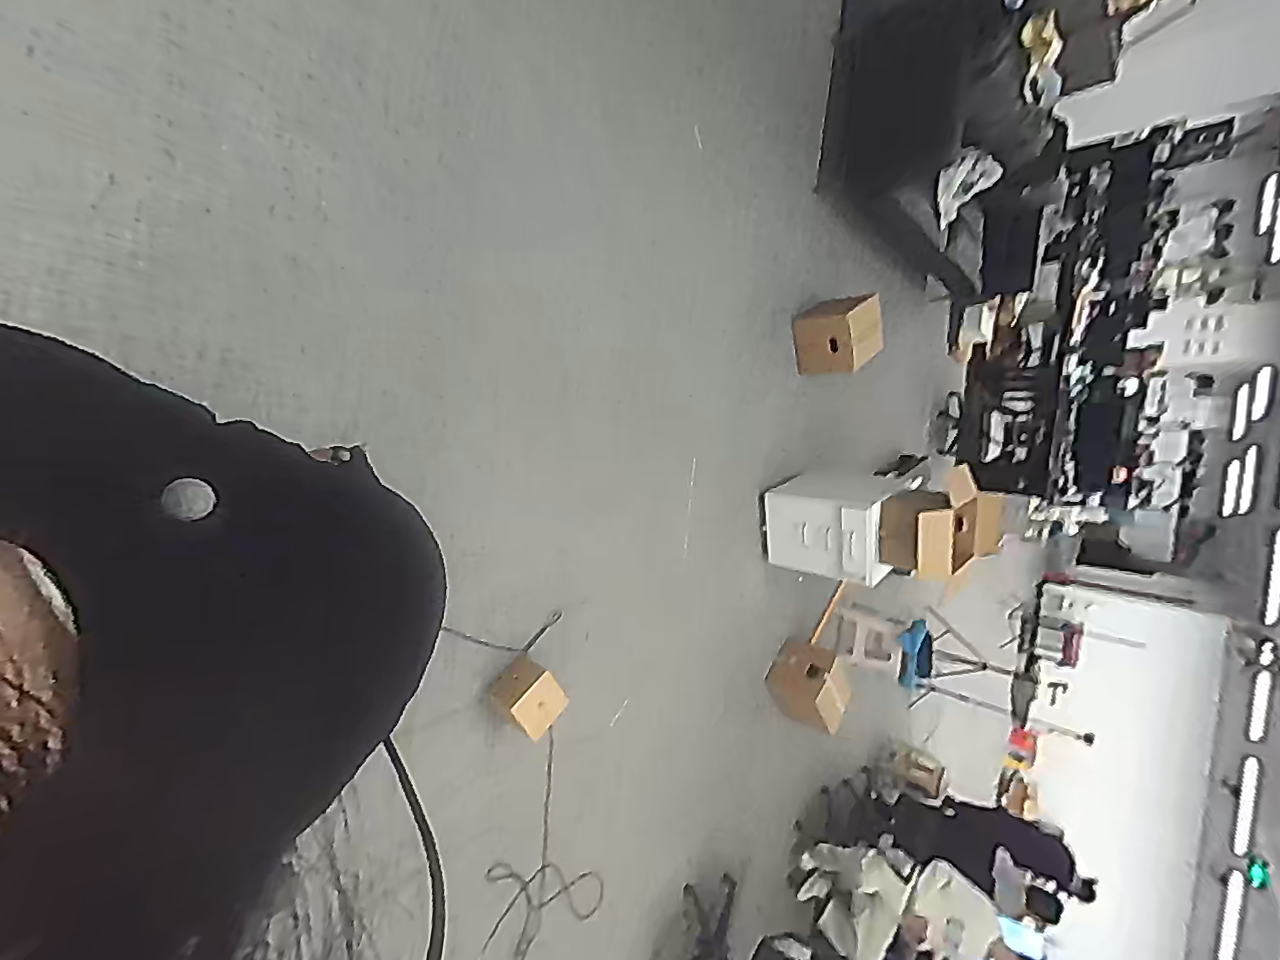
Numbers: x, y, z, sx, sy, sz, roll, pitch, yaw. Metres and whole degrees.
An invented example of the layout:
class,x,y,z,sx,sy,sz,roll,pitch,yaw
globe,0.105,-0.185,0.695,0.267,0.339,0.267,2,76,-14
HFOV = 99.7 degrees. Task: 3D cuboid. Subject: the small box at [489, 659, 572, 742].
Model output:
class,x,y,z,sx,sy,sz,roll,pitch,yaw
small box,-0.363,0.710,1.770,0.168,0.176,0.179,-43,123,-33
